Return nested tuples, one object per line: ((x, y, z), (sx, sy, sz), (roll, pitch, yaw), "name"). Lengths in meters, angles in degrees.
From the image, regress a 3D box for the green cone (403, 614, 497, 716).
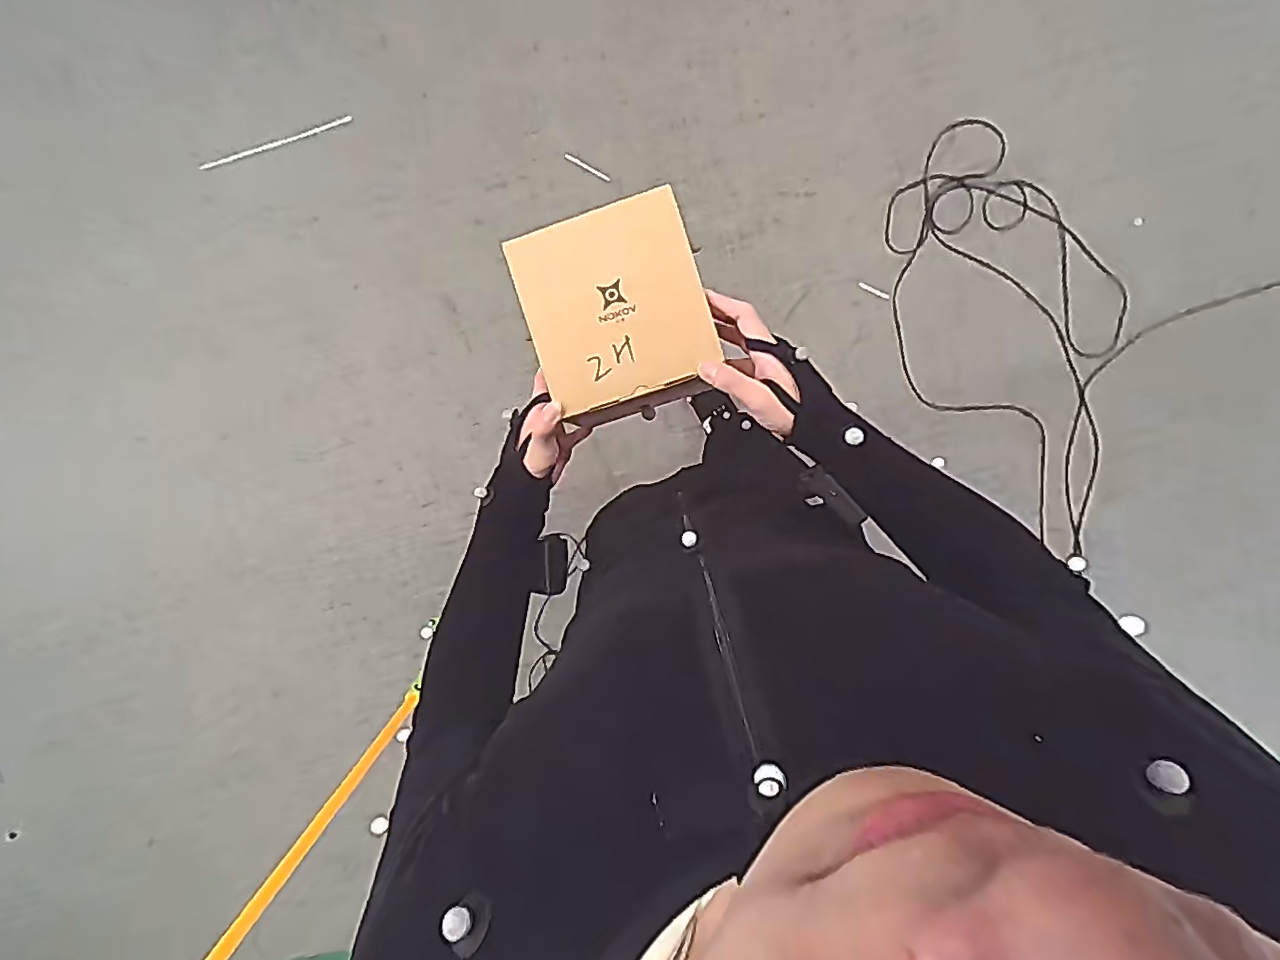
((-0.554, 0.538, 1.481), (0.202, 0.368, 0.200), (-13, 96, 3), "green cone")
